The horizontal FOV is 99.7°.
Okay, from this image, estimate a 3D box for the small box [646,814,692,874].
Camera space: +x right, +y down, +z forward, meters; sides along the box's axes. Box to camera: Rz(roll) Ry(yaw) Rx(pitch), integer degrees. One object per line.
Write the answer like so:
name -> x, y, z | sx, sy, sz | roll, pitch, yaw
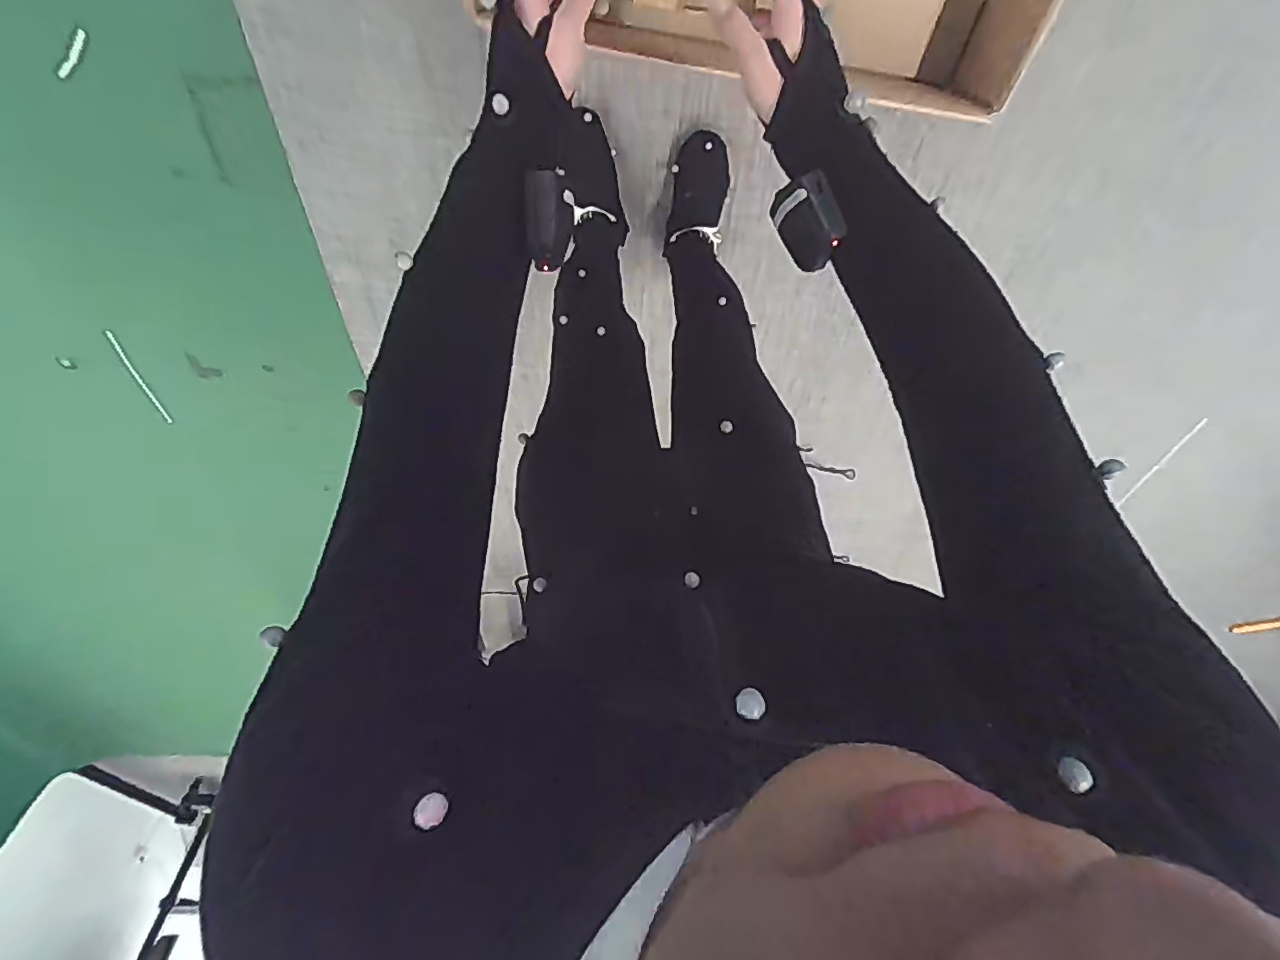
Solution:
small box -> 0.108, 1.403, 2.087 | 0.168, 0.176, 0.179 | 0, 136, 1
